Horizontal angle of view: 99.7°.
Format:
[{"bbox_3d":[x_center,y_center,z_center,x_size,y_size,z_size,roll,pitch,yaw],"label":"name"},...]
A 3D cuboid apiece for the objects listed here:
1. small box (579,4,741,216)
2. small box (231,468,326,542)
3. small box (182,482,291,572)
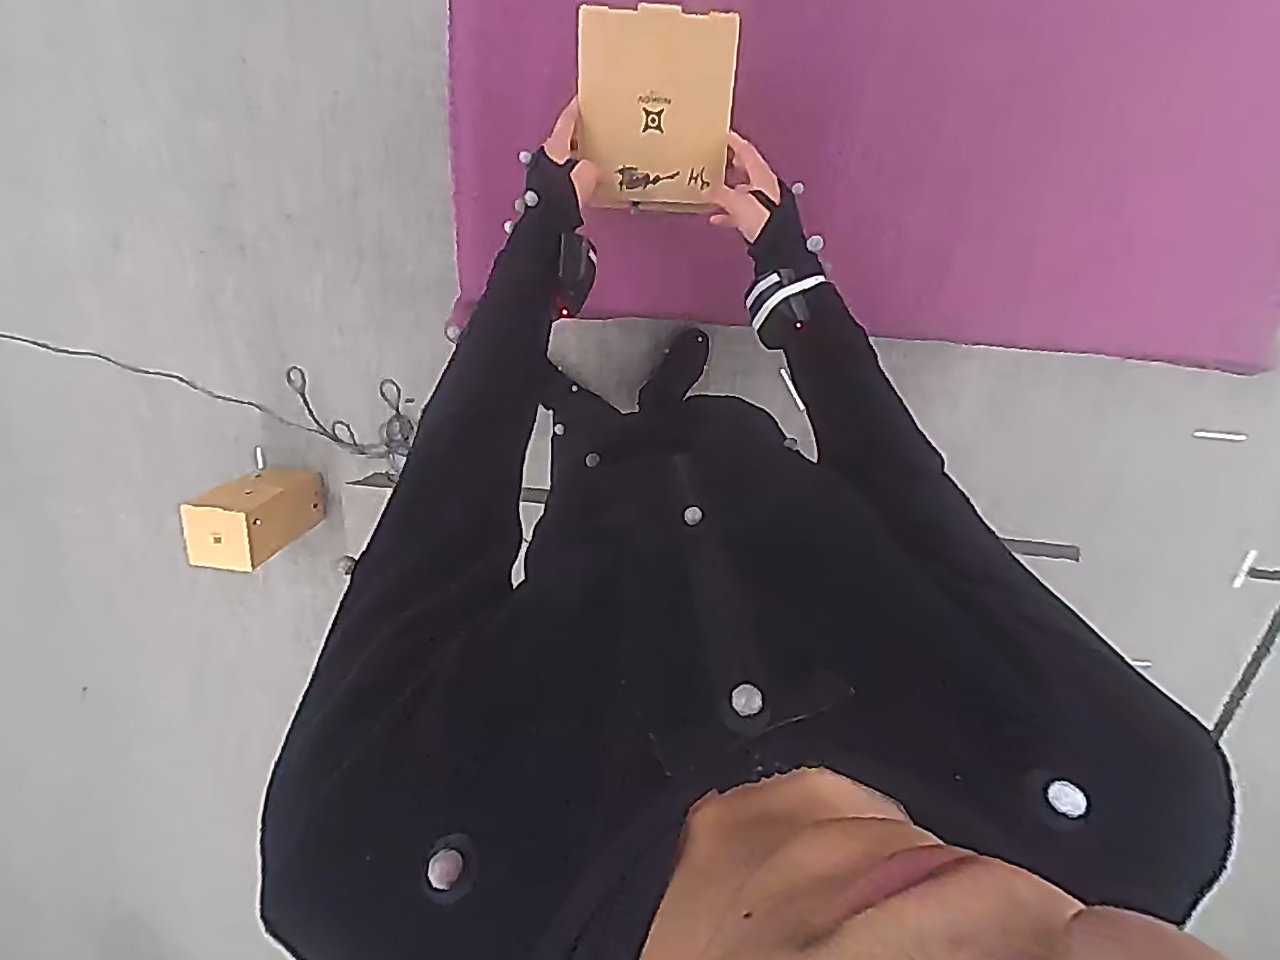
[{"bbox_3d":[0.018,-0.426,0.653,0.168,0.176,0.179,3,113,0],"label":"small box"},{"bbox_3d":[-1.079,0.070,1.619,0.179,0.176,0.168,6,110,-1],"label":"small box"},{"bbox_3d":[-1.081,0.123,1.466,0.168,0.176,0.179,8,110,-1],"label":"small box"}]
